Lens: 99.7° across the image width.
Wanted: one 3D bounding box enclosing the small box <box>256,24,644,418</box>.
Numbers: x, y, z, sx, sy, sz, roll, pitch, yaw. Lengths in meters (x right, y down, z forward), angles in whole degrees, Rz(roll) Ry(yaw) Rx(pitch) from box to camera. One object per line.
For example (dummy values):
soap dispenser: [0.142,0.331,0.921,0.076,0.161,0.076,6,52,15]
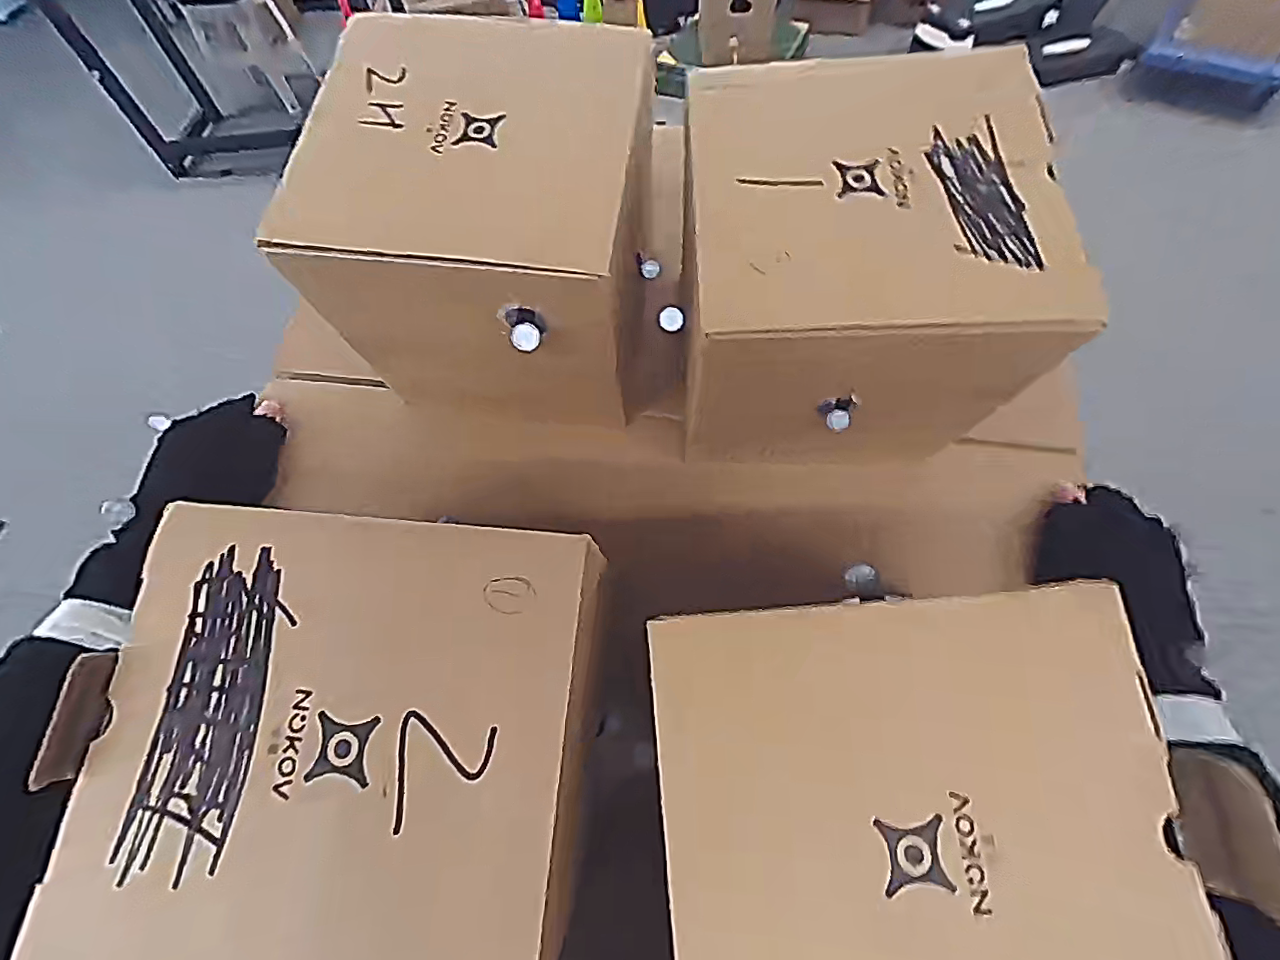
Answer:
small box: [-0.093,-0.154,0.364,0.179,0.176,0.168,7,71,5]
